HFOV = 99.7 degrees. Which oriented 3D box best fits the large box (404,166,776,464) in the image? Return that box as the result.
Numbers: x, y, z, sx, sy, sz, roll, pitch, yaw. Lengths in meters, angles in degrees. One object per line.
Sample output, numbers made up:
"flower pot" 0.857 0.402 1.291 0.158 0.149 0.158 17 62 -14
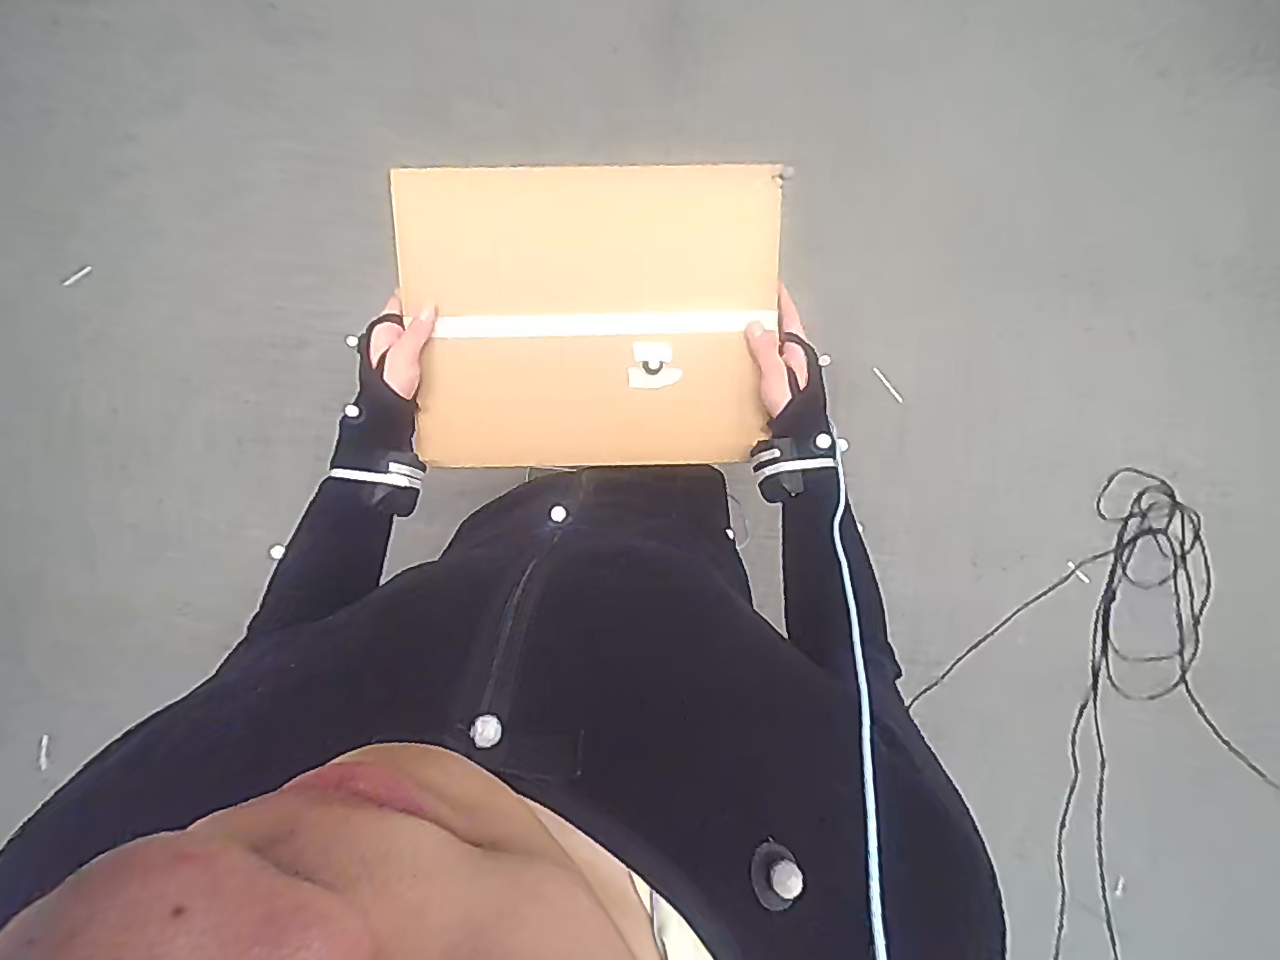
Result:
"large box" -0.053 -0.204 0.746 0.408 0.320 0.320 -2 101 -1
